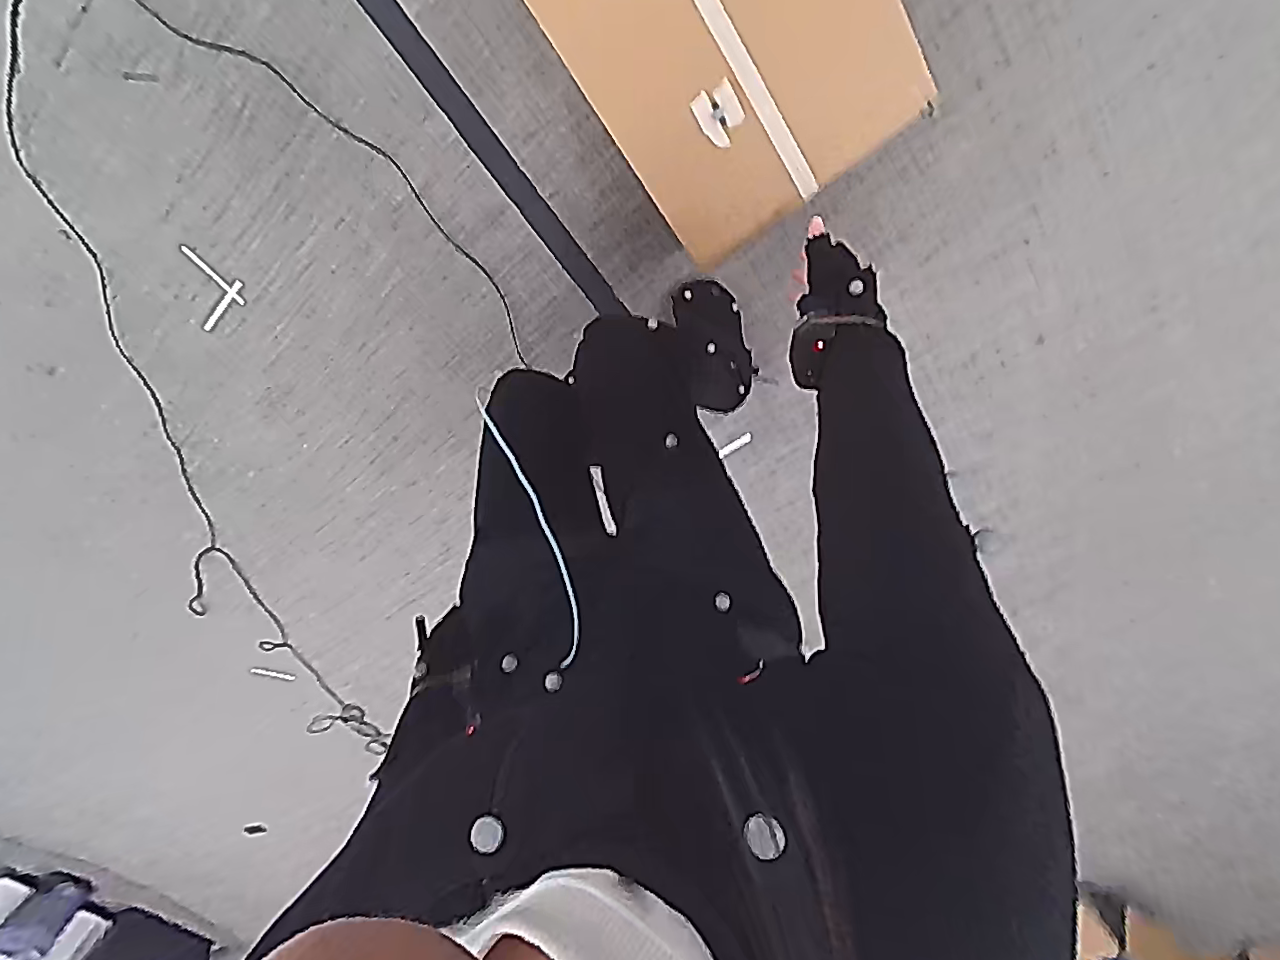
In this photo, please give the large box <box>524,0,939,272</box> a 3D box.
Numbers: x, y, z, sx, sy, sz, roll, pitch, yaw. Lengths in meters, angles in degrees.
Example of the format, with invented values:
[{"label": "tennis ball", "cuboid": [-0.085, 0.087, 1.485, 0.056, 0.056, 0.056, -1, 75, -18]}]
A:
[{"label": "large box", "cuboid": [0.108, -0.562, 0.716, 0.320, 0.320, 0.408, -31, 113, 23]}]
